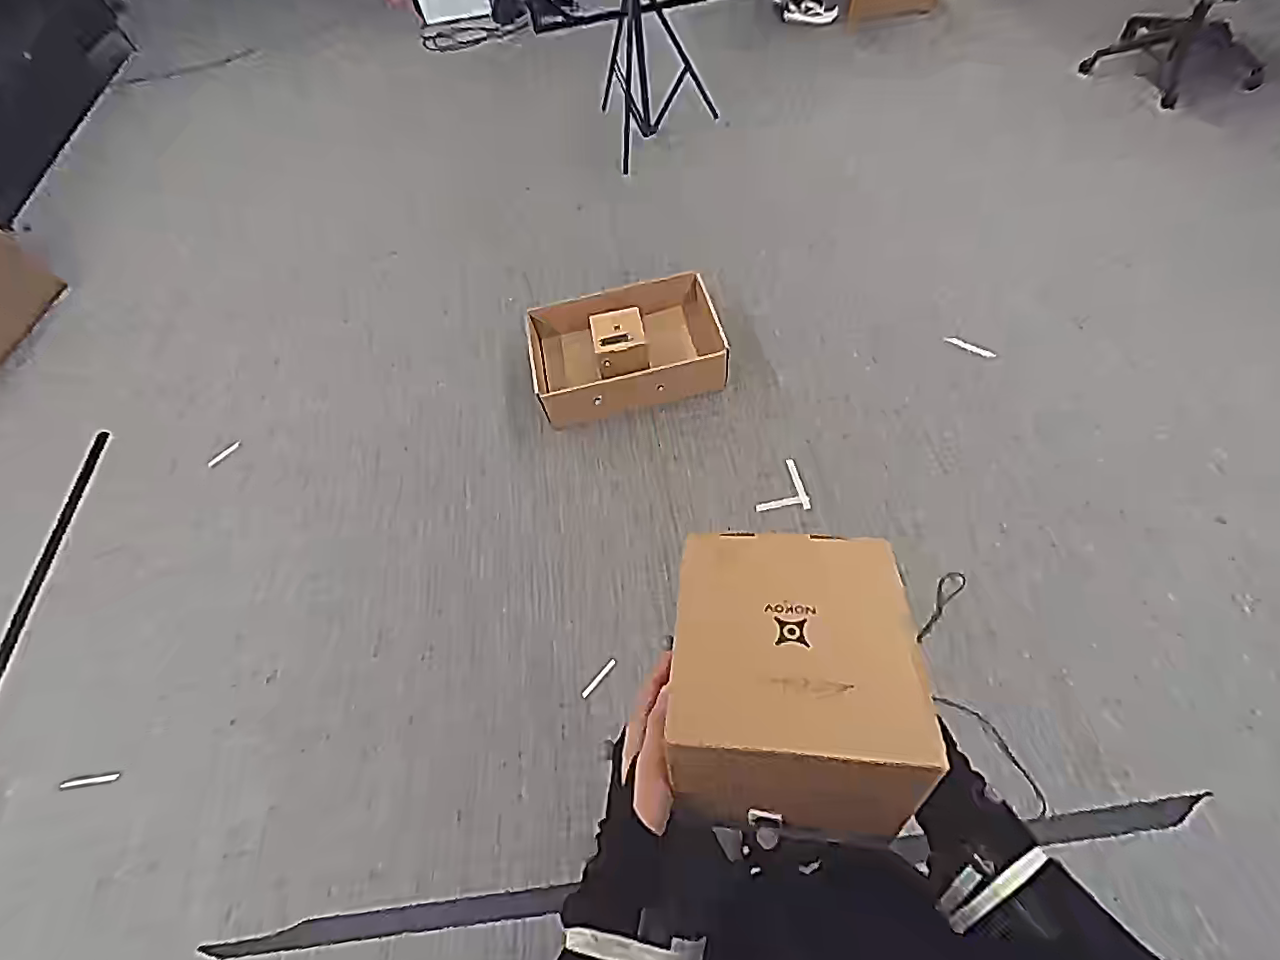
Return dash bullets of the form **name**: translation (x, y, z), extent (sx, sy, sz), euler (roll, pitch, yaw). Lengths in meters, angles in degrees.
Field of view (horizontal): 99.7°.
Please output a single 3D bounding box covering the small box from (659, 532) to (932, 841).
- **small box**: translation (0.109, 0.164, 0.442), extent (0.168, 0.176, 0.179), euler (0, 44, 9)
